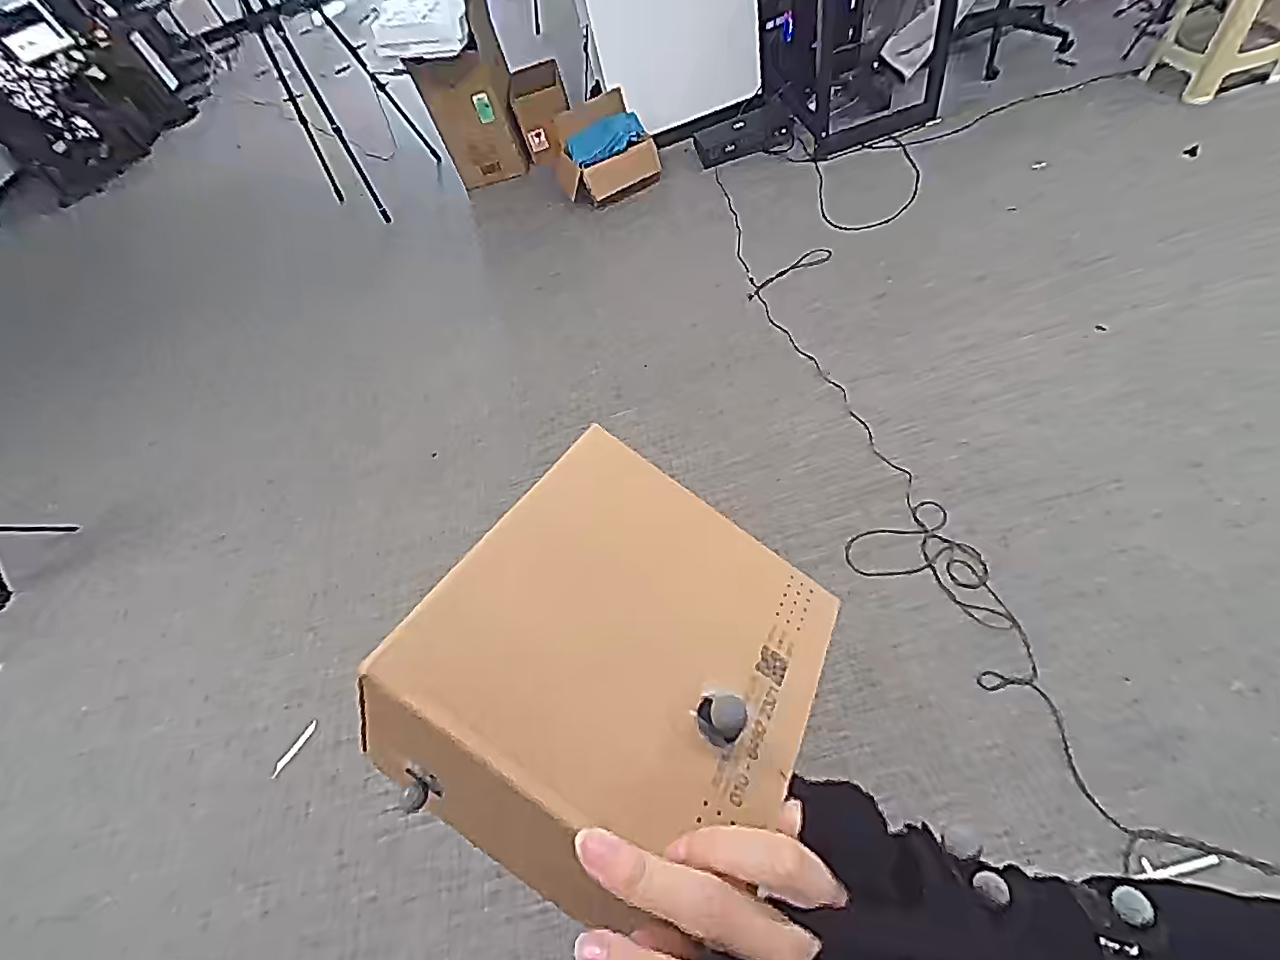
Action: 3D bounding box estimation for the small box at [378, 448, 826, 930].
[{"bbox_3d":[-0.024,0.123,0.319,0.176,0.179,0.168,35,48,1],"label":"small box"}]
